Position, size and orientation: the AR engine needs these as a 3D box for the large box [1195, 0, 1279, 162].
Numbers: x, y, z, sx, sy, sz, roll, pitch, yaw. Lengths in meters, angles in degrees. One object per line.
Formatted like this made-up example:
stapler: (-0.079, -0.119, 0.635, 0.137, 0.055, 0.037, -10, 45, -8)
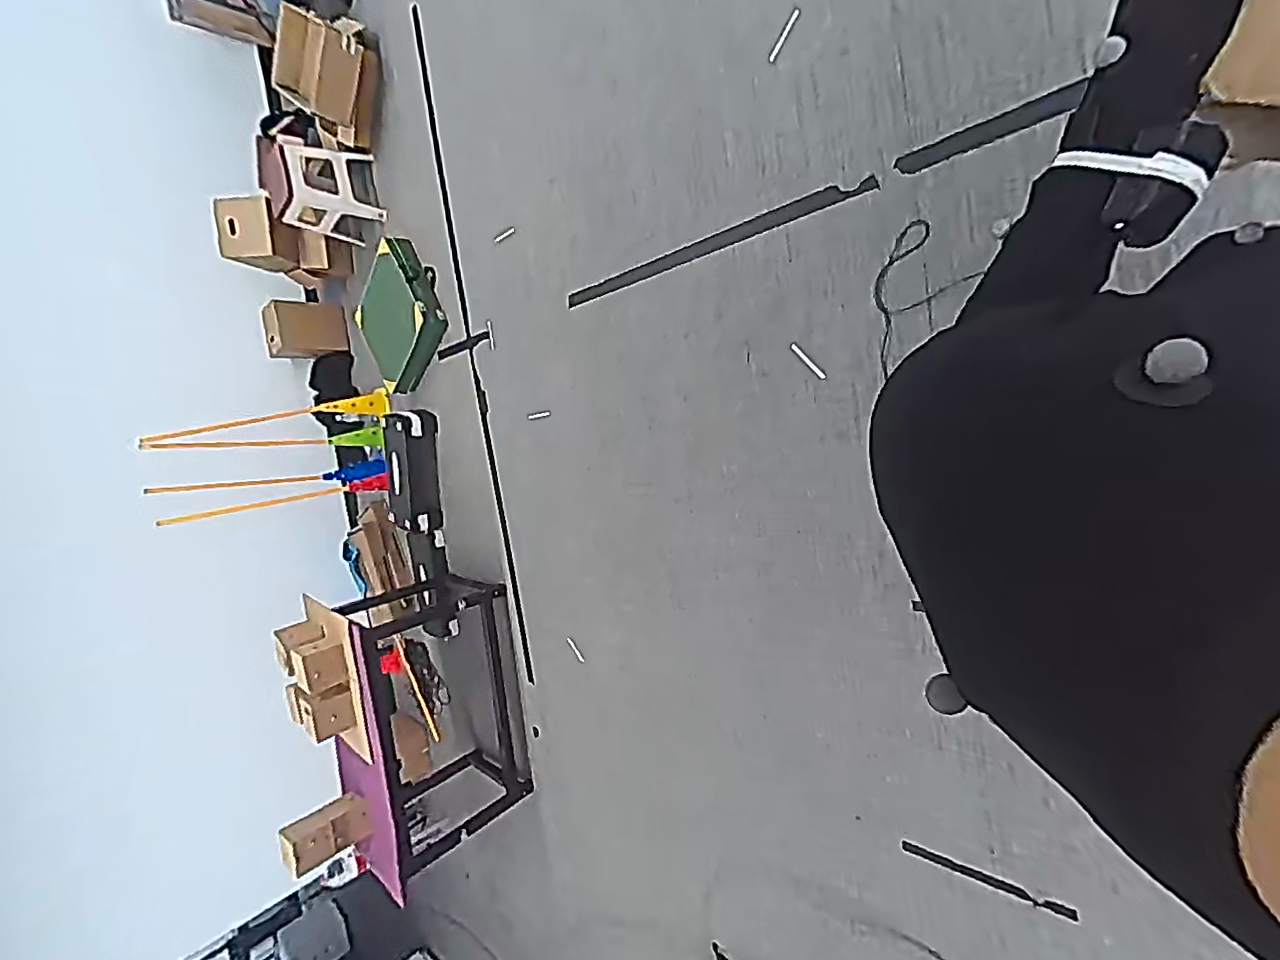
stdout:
large box: (0.640, -0.350, 0.287, 0.408, 0.320, 0.320, 32, 128, 34)
